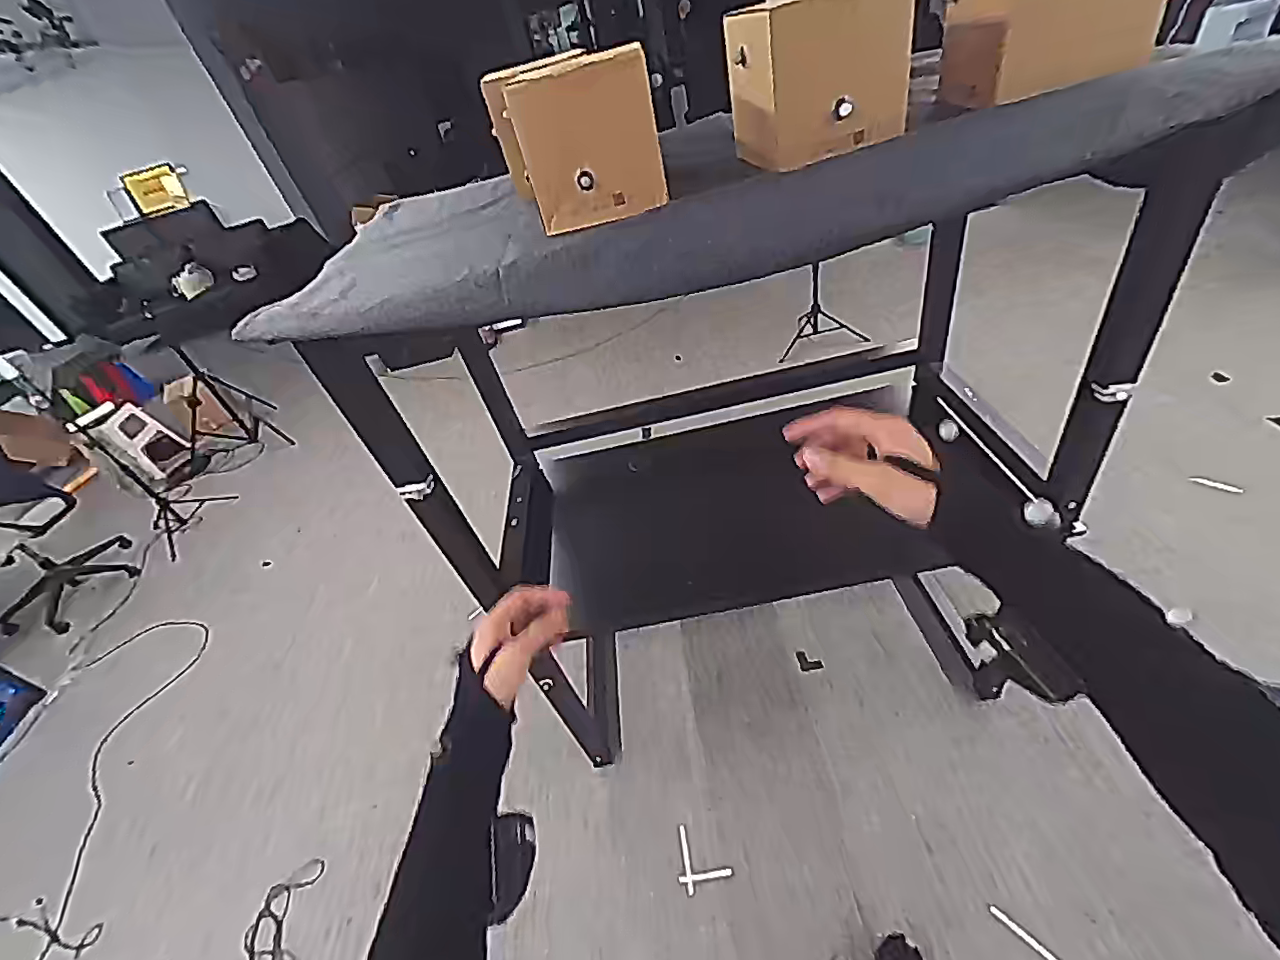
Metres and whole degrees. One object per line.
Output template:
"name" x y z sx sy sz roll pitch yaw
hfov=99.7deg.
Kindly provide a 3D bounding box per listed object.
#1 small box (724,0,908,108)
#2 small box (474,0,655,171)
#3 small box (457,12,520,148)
"small box" 0.201 -0.567 0.648 0.168 0.176 0.179 -16 41 1
"small box" -0.079 -0.501 0.667 0.168 0.176 0.179 -10 41 7
"small box" -0.170 -0.646 0.855 0.168 0.176 0.179 -15 41 1
